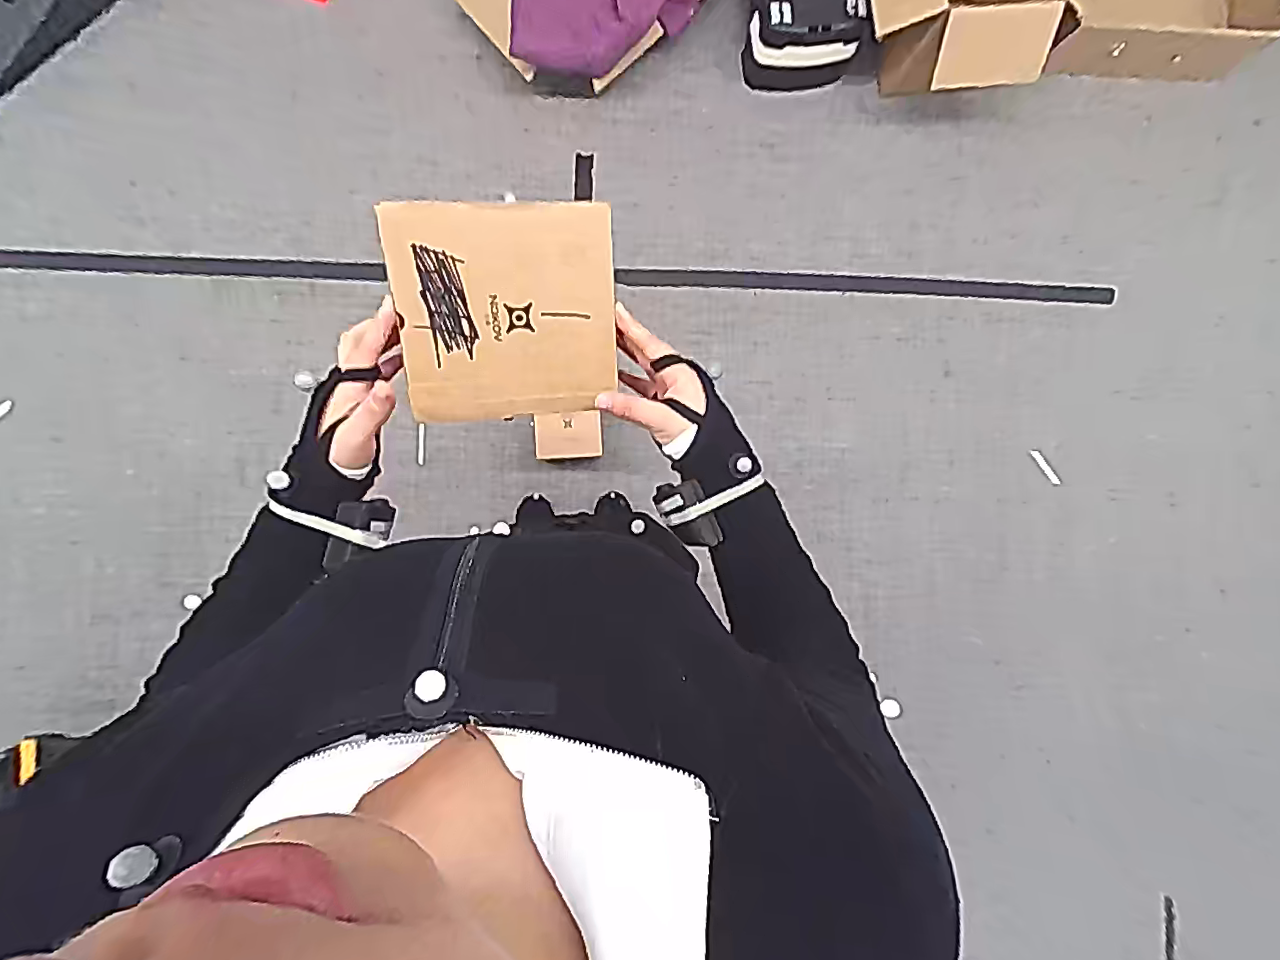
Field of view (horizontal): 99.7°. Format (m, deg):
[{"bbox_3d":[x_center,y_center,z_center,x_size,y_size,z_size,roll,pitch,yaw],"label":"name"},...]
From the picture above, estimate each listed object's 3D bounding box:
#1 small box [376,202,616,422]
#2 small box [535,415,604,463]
[{"bbox_3d":[-0.120,-0.154,0.504,0.179,0.176,0.168,-4,110,-10],"label":"small box"},{"bbox_3d":[-0.184,-0.138,1.419,0.168,0.176,0.179,-4,91,-3],"label":"small box"}]
